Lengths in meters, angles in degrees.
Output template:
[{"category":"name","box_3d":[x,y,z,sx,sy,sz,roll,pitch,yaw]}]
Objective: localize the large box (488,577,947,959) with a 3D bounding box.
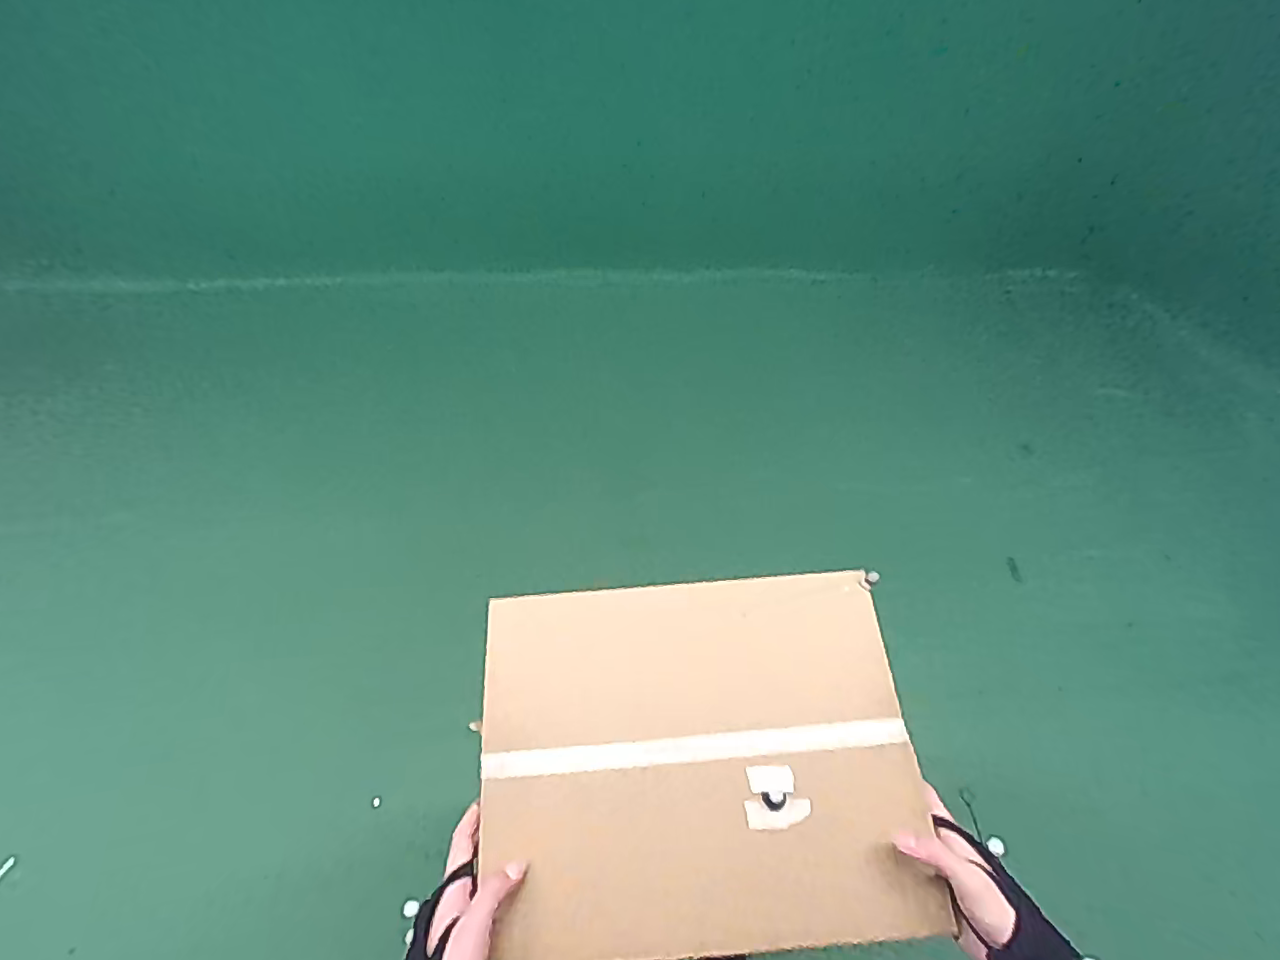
[{"category":"large box","box_3d":[0.054,0.326,0.654,0.408,0.320,0.320,-5,65,-2]}]
